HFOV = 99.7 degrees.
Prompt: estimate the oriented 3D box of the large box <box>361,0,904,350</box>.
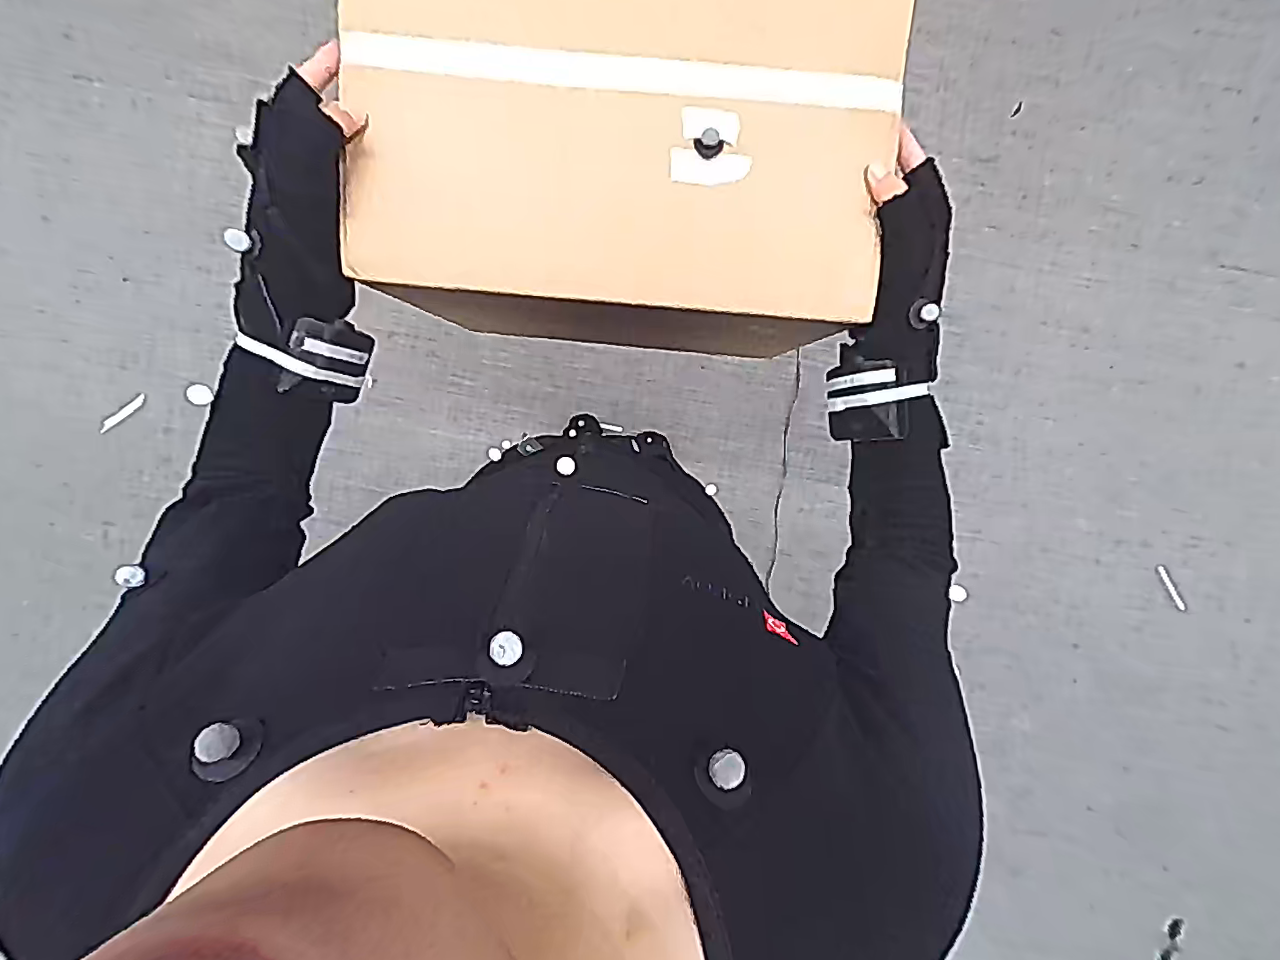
[{"bbox_3d":[-0.011,-0.317,0.551,0.408,0.320,0.320,5,98,-1],"label":"large box"}]
